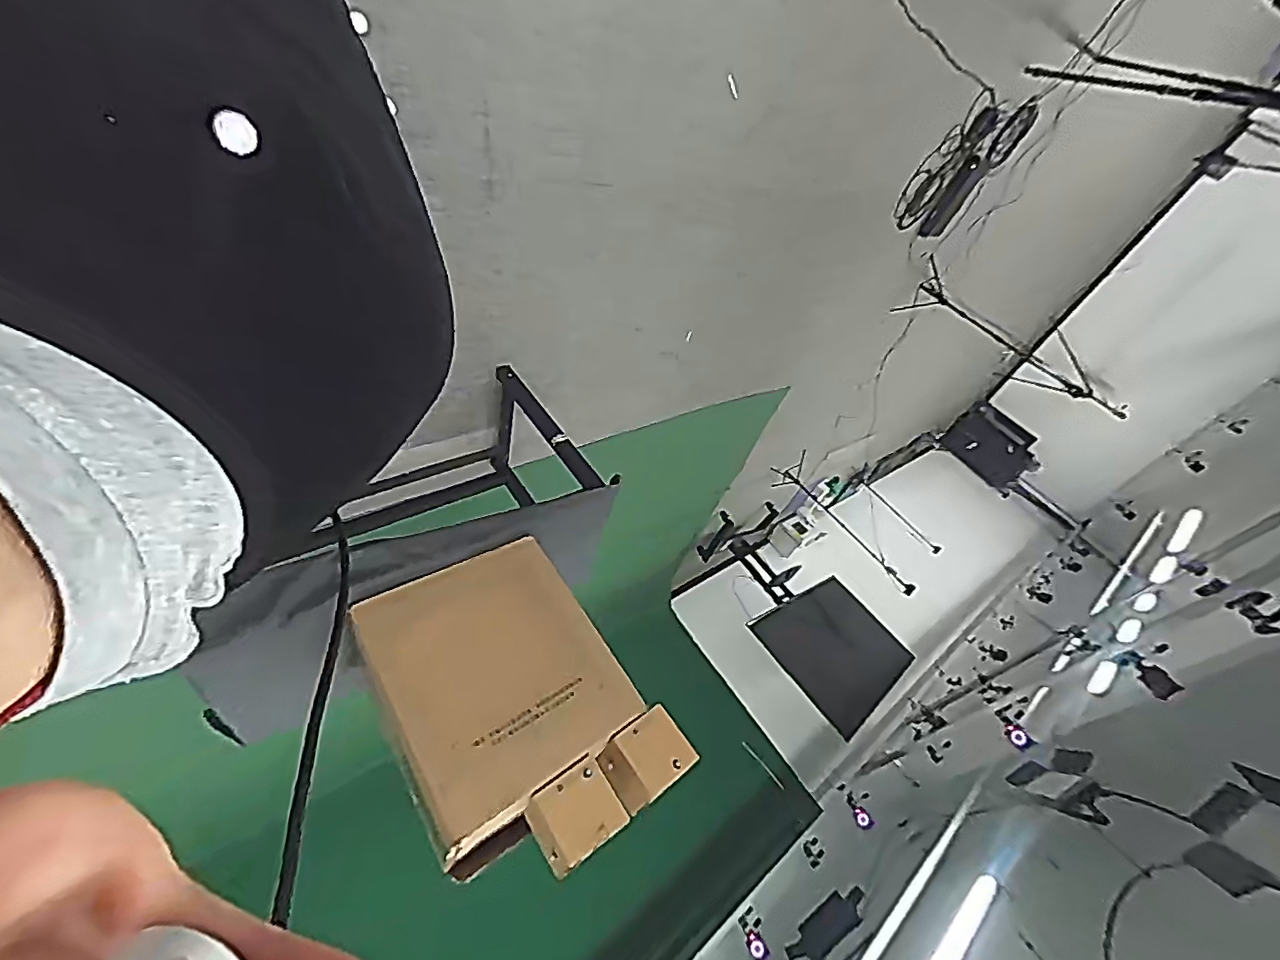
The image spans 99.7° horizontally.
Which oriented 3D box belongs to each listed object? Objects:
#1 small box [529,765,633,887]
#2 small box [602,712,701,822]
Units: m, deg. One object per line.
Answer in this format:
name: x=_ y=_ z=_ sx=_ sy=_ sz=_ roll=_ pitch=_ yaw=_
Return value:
small box: x=-0.147 y=0.812 z=1.281 sx=0.168 sy=0.176 sz=0.179 roll=-21 pitch=149 yaw=-35
small box: x=0.023 y=0.742 z=1.409 sx=0.168 sy=0.176 sz=0.179 roll=-23 pitch=150 yaw=-39
